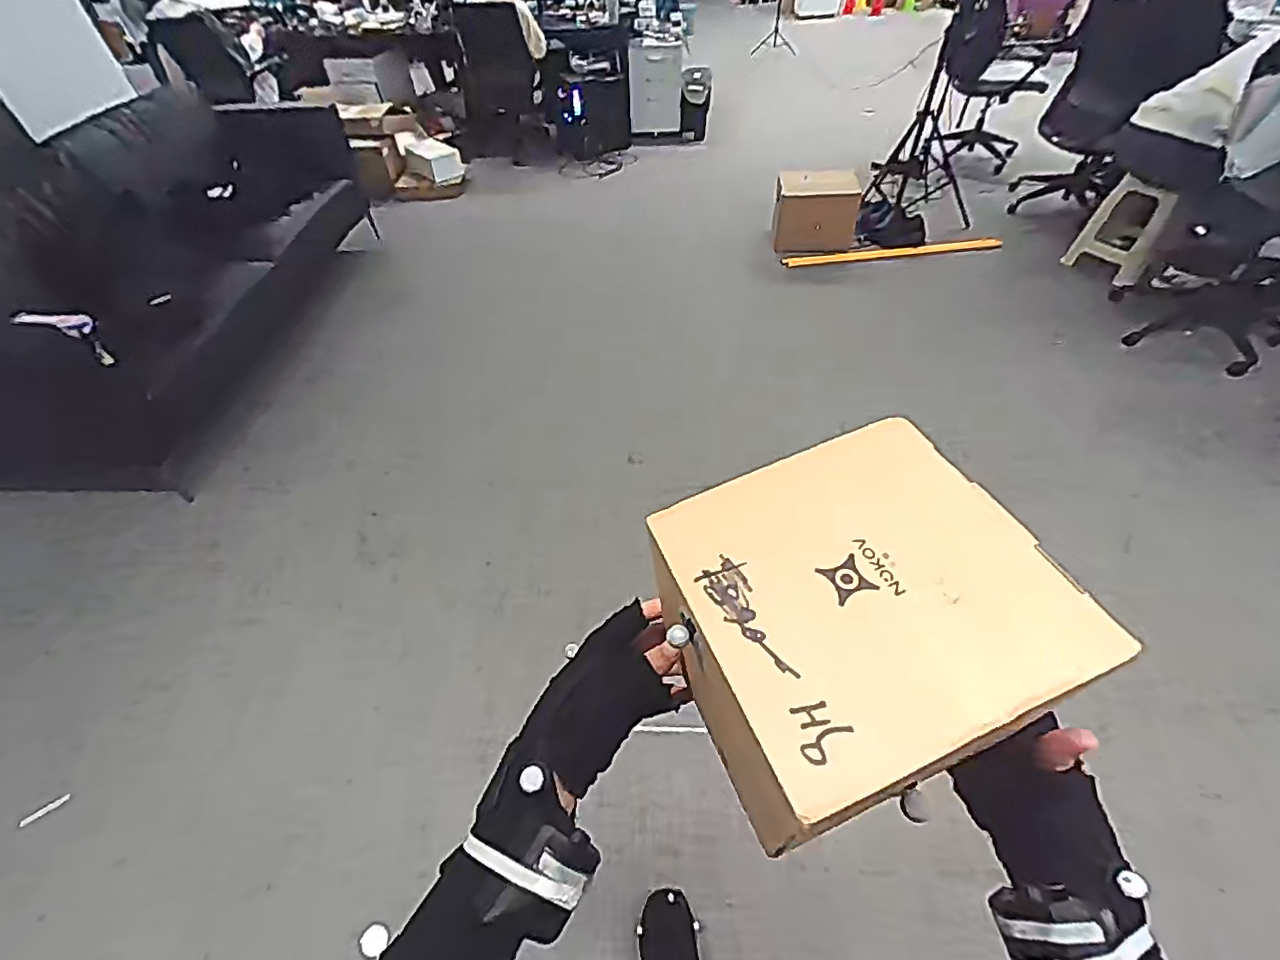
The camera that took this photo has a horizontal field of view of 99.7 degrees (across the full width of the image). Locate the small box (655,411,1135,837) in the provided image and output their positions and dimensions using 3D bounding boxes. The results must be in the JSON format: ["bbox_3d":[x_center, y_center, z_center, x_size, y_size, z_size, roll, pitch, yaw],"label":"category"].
[{"bbox_3d":[0.121,0.092,0.337,0.179,0.176,0.168,-20,52,-10],"label":"small box"}]
